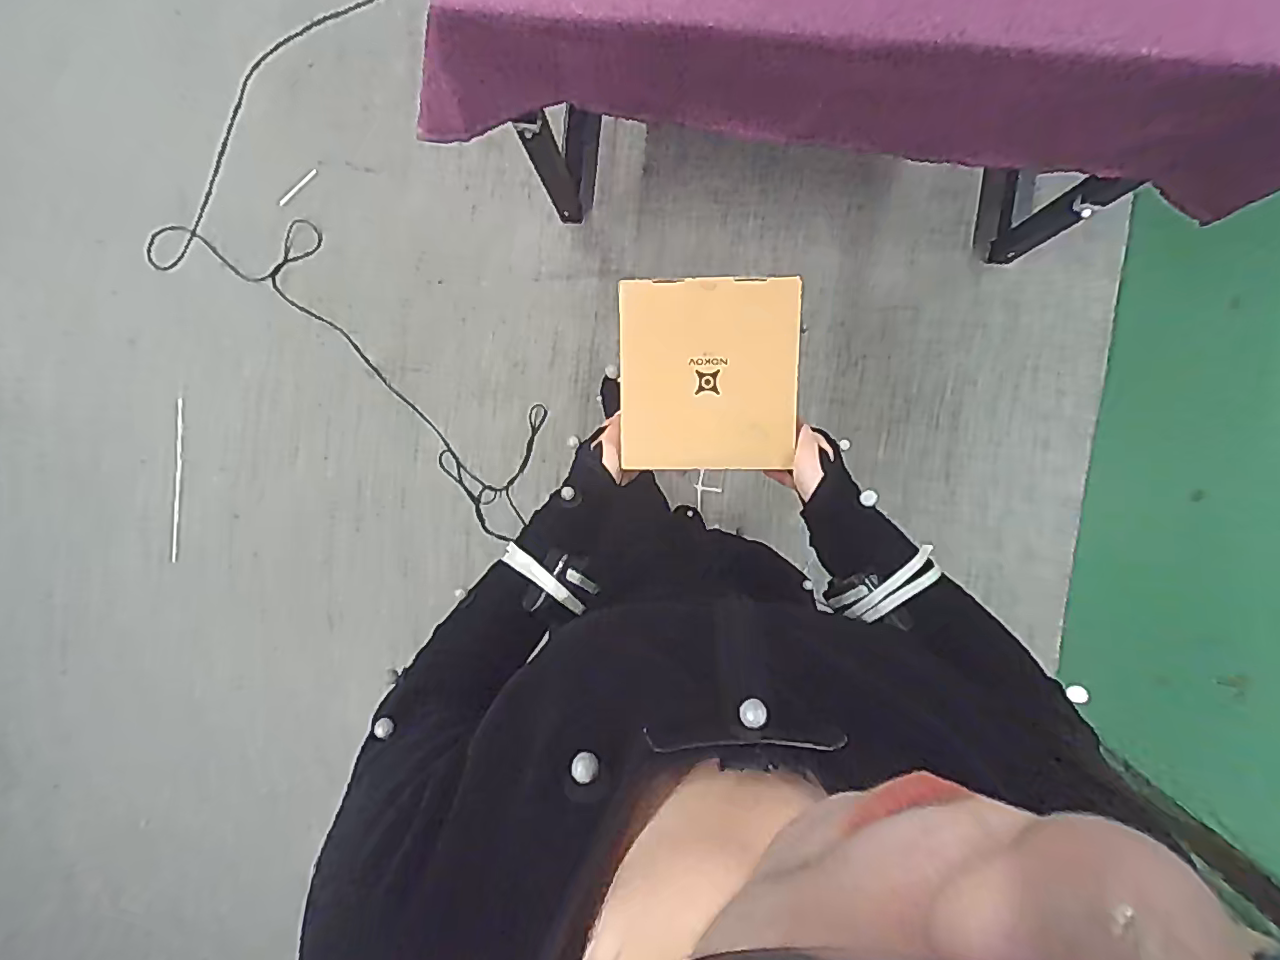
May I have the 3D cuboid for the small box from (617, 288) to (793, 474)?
[{"bbox_3d":[0.065,-0.105,0.594,0.168,0.176,0.179,1,98,3],"label":"small box"}]
